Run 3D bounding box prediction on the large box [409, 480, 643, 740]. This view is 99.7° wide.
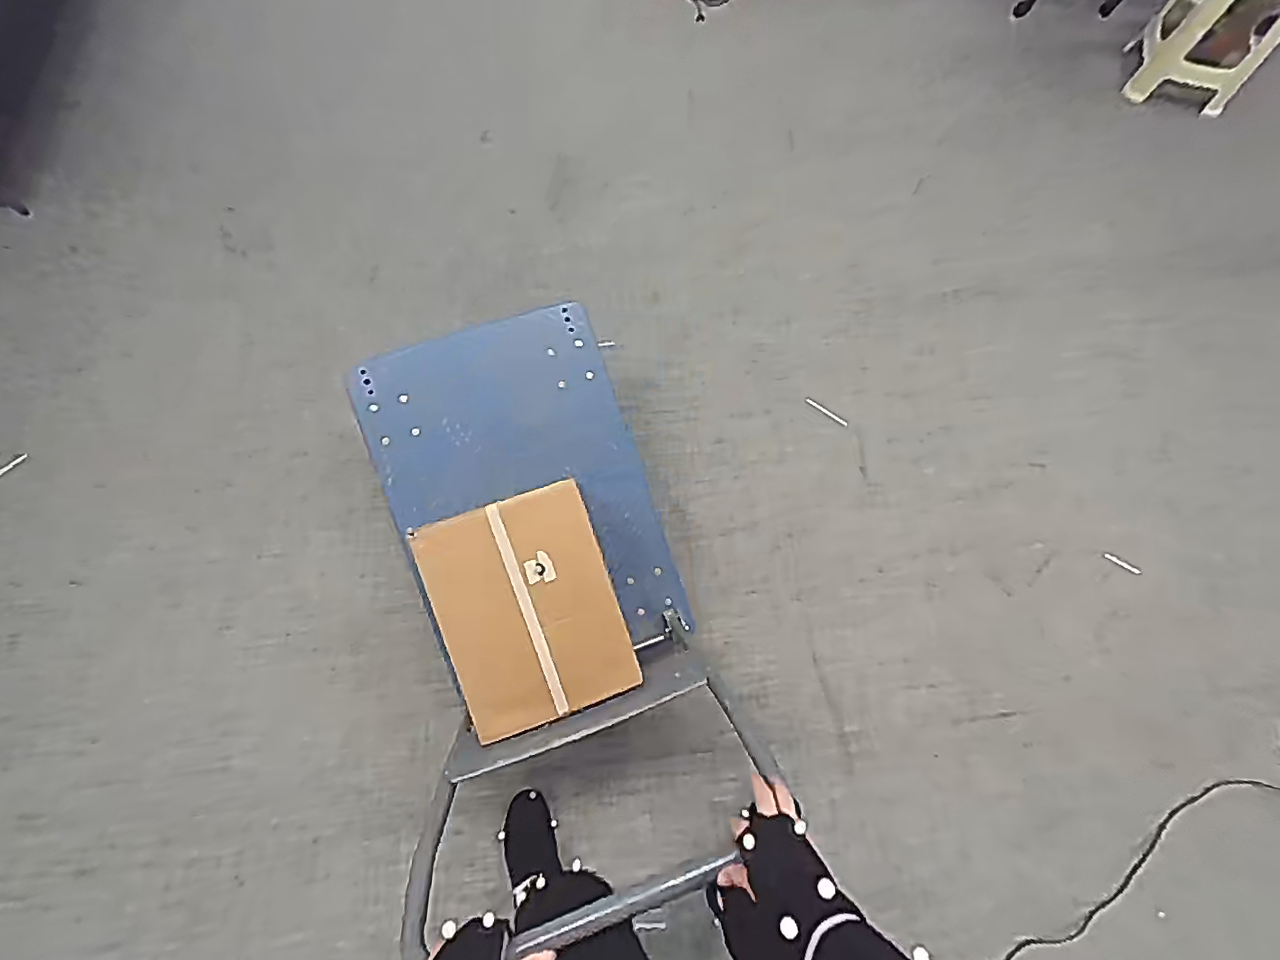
[{"bbox_3d":[-0.218,0.239,1.132,0.320,0.320,0.408,-20,91,-7],"label":"large box"}]
